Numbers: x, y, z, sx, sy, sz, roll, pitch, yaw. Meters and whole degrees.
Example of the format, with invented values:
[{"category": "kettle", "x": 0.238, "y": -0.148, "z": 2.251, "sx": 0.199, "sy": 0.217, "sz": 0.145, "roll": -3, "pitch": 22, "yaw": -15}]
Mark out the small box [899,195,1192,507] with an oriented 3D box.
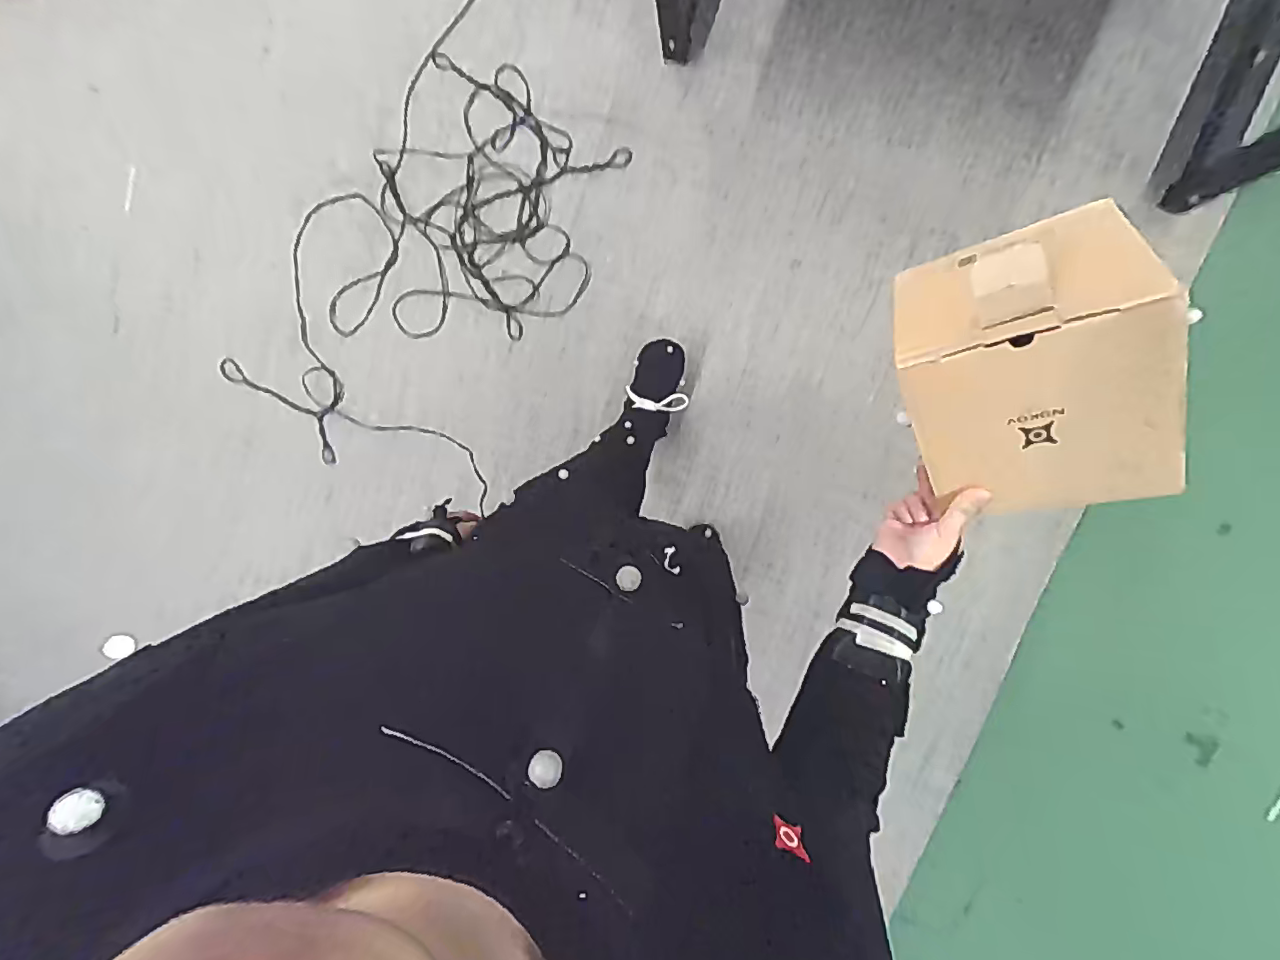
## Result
[{"category": "small box", "x": 0.332, "y": -0.104, "z": 0.465, "sx": 0.168, "sy": 0.176, "sz": 0.179, "roll": -13, "pitch": 126, "yaw": 34}]
